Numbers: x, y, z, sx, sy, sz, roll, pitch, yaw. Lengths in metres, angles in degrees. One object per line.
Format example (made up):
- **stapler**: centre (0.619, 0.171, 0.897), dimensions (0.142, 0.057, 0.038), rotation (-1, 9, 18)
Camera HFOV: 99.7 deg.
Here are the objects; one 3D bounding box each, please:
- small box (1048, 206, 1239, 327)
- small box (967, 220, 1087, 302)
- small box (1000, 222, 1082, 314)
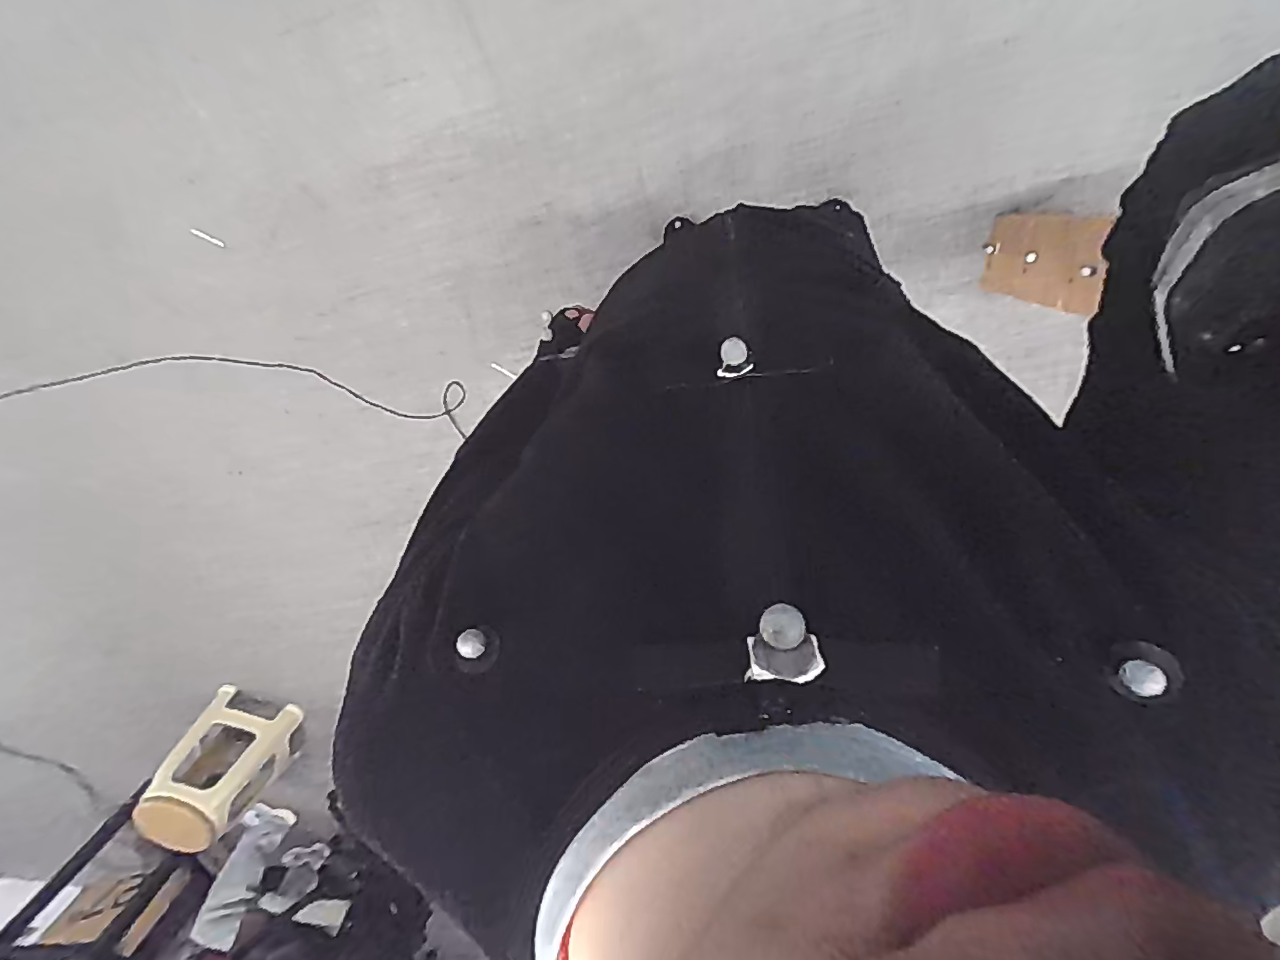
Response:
- **small box**: centre (0.869, -0.376, 0.957), dimensions (0.179, 0.176, 0.168), rotation (-7, 114, 9)
- **small box**: centre (0.901, -0.510, 1.254), dimensions (0.179, 0.176, 0.168), rotation (0, 115, 6)
- **small box**: centre (0.888, -0.437, 1.107), dimensions (0.179, 0.176, 0.168), rotation (1, 115, 5)
